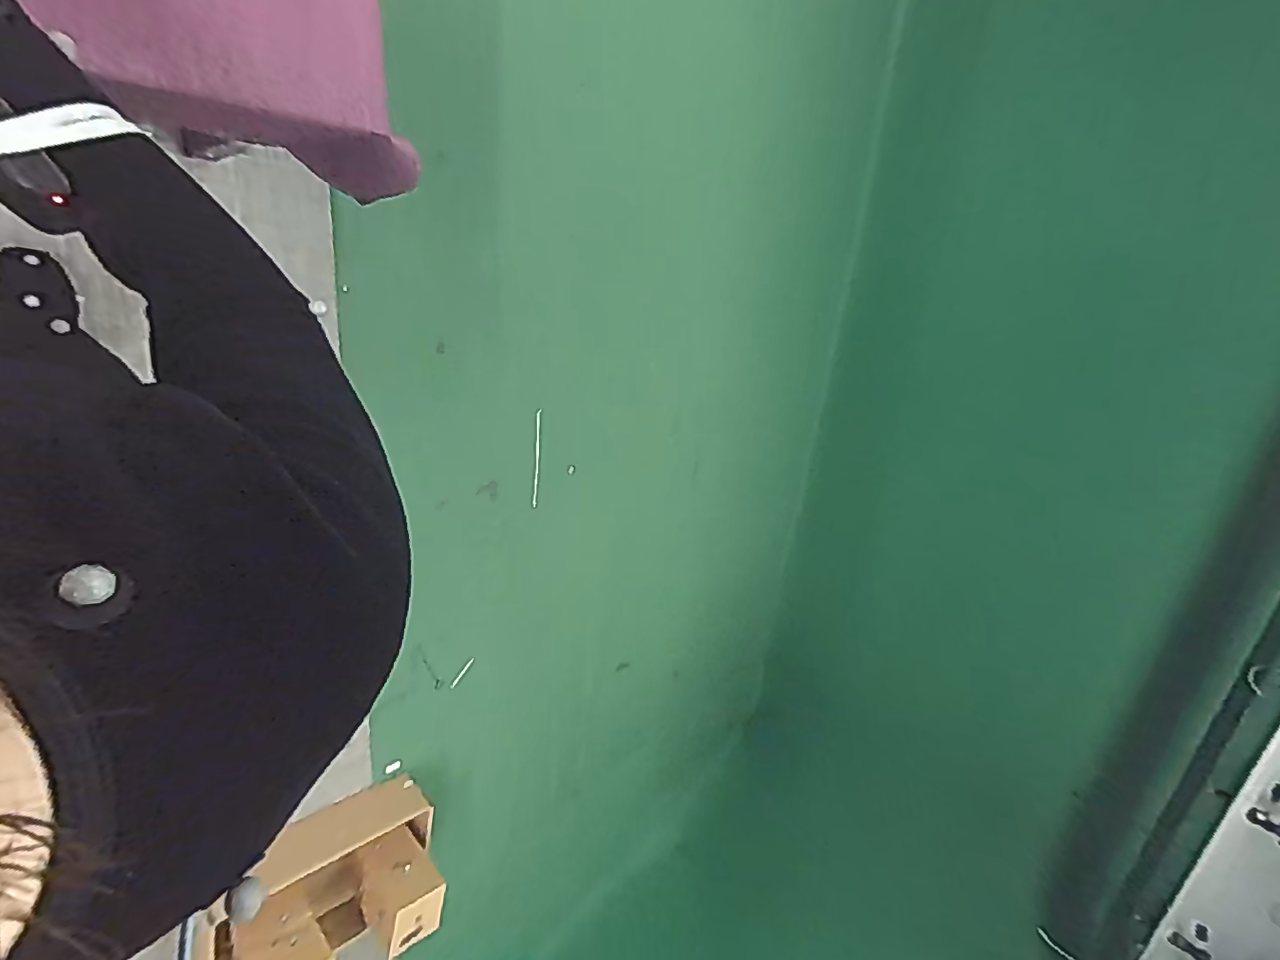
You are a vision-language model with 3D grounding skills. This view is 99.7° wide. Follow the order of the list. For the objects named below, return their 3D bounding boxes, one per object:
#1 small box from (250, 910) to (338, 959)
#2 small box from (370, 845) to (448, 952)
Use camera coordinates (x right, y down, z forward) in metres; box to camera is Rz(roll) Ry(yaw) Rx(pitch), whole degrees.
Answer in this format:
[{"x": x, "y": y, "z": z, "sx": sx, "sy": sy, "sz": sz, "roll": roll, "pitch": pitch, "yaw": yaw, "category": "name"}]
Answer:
[{"x": -0.954, "y": 1.355, "z": 1.487, "sx": 0.168, "sy": 0.176, "sz": 0.179, "roll": -6, "pitch": 110, "yaw": -50, "category": "small box"}, {"x": -0.747, "y": 1.333, "z": 1.736, "sx": 0.168, "sy": 0.176, "sz": 0.179, "roll": 1, "pitch": 104, "yaw": -50, "category": "small box"}]
